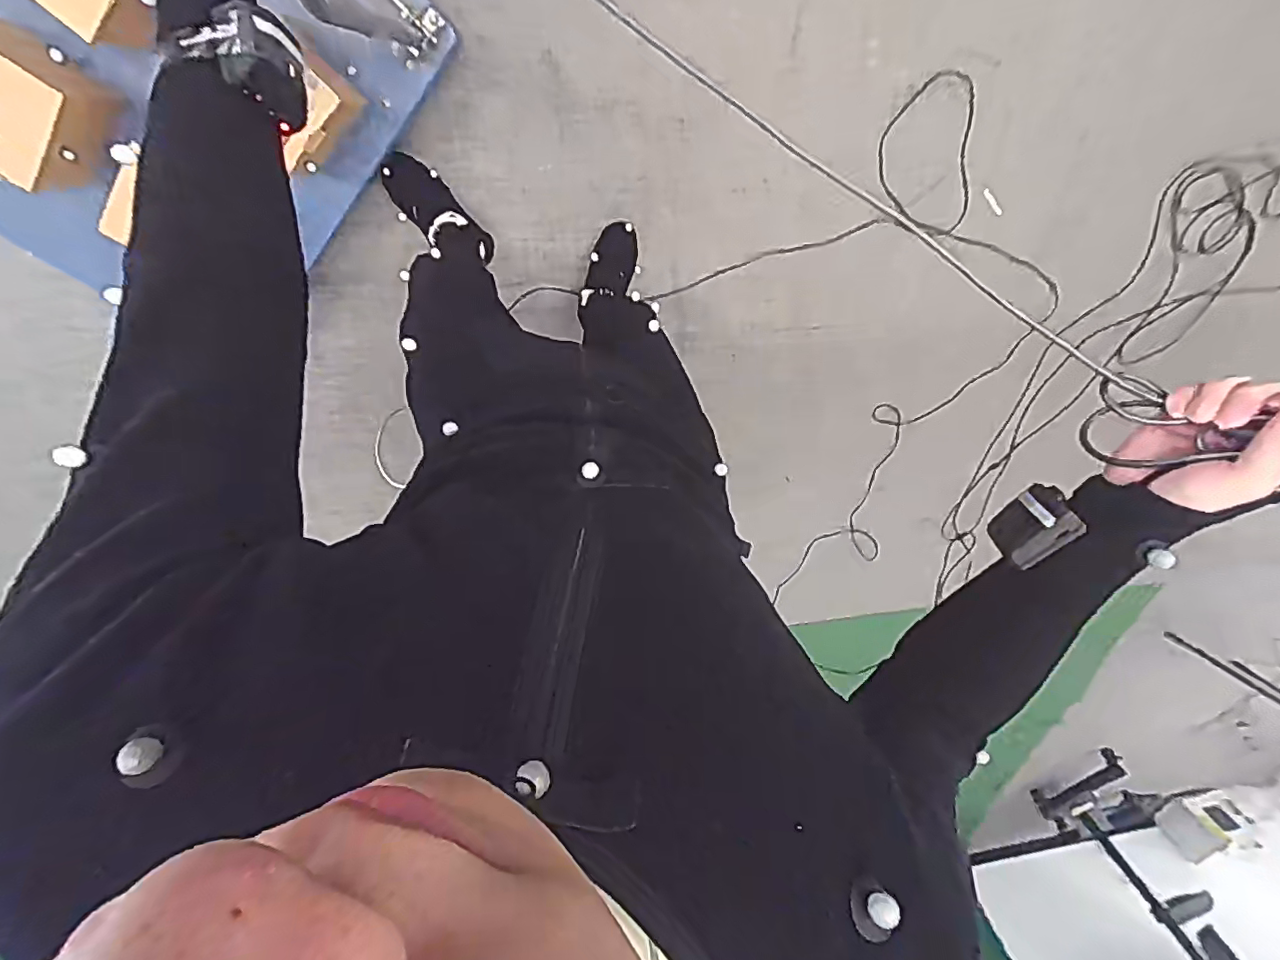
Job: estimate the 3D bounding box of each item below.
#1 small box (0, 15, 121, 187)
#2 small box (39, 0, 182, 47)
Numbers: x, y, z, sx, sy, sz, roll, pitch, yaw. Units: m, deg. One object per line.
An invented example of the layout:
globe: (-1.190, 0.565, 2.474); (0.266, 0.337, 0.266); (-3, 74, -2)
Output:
small box: (-1.005, -0.613, 0.875); (0.168, 0.176, 0.179); (34, 110, -29)
small box: (-0.815, -0.789, 0.799); (0.179, 0.176, 0.168); (-42, 121, 16)
